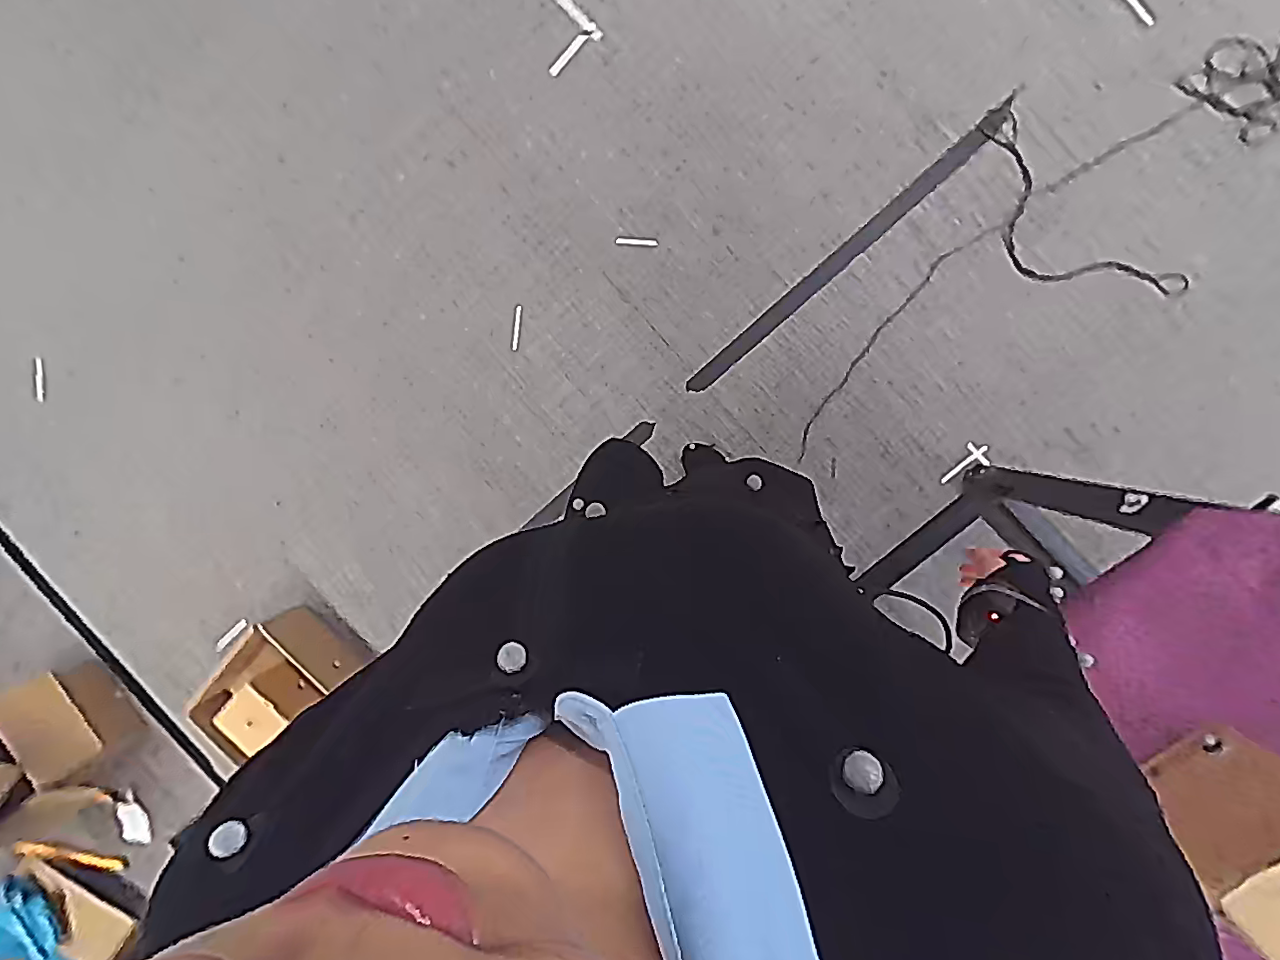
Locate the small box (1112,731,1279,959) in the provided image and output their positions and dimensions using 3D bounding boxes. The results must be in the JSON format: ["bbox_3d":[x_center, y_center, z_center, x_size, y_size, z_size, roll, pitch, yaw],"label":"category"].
[{"bbox_3d":[0.720,0.426,0.626,0.168,0.176,0.179,-42,90,11],"label":"small box"}]

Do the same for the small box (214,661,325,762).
[{"bbox_3d":[-1.074,0.670,1.582,0.168,0.176,0.179,43,100,0],"label":"small box"}]
